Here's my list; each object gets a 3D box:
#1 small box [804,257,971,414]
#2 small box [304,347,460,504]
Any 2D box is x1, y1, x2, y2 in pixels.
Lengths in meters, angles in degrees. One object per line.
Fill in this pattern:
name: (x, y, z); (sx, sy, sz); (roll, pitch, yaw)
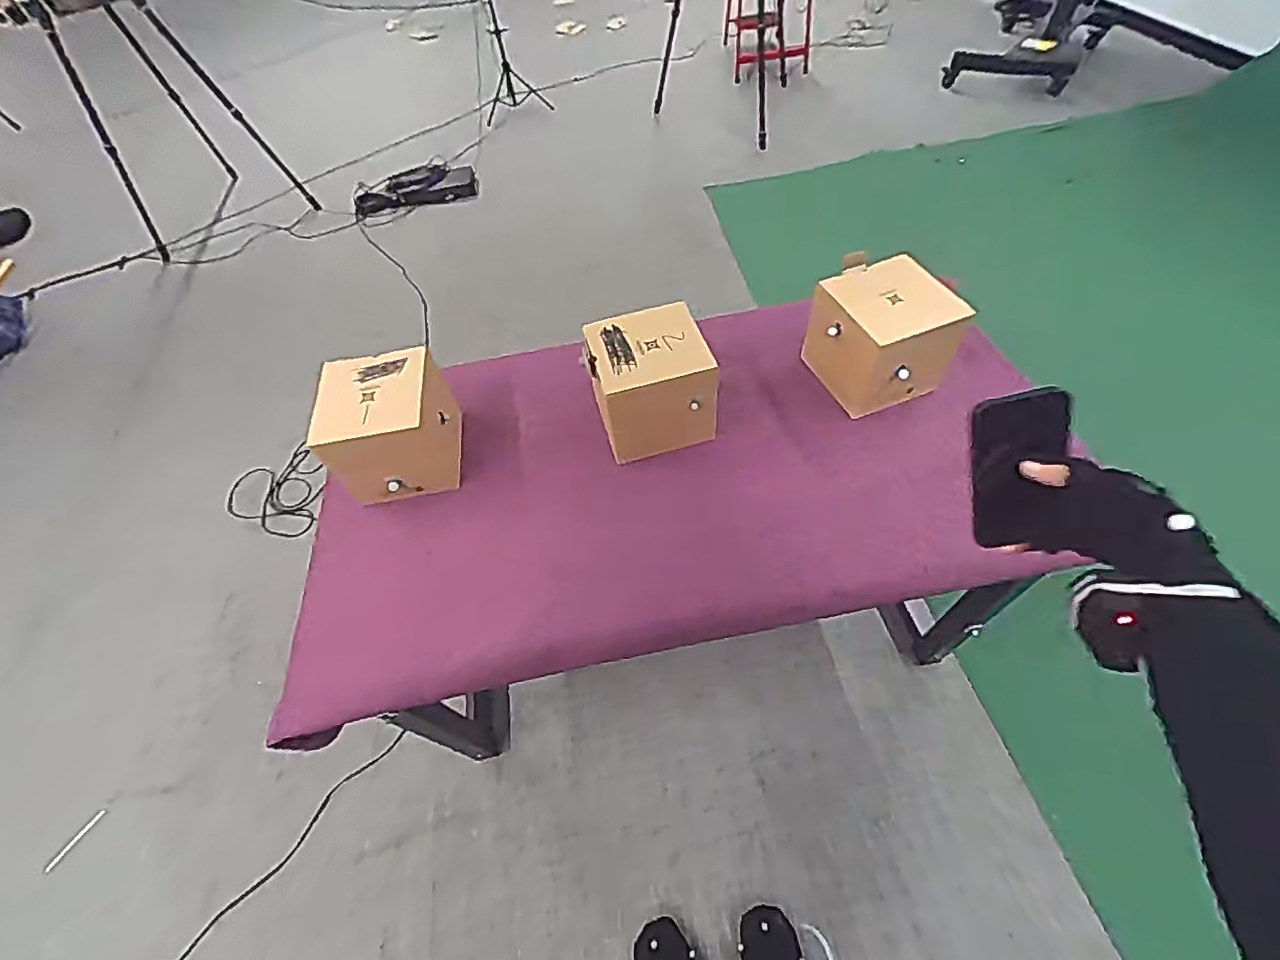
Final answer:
small box: (0.398, -0.233, 0.906); (0.168, 0.176, 0.179); (-20, 55, -7)
small box: (-0.402, -0.086, 0.880); (0.168, 0.176, 0.179); (-10, 56, -1)
